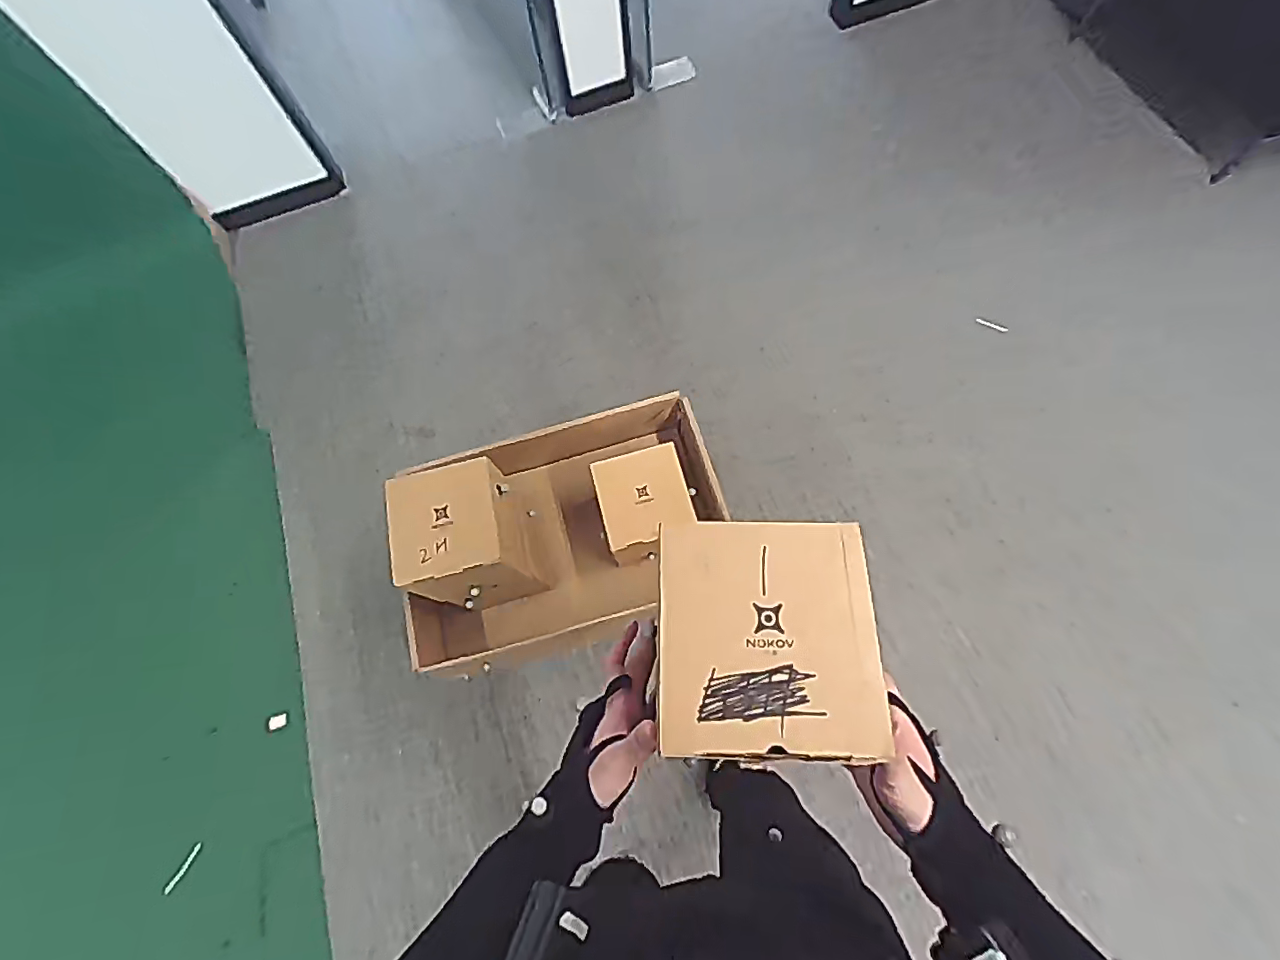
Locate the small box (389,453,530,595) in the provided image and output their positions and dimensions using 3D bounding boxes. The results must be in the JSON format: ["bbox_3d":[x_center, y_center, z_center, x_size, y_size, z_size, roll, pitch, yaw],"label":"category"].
[{"bbox_3d":[-0.294,0.080,0.902,0.168,0.176,0.179,-14,70,0],"label":"small box"}]

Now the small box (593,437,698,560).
[{"bbox_3d":[0.014,0.042,1.066,0.168,0.176,0.179,-16,71,-1],"label":"small box"}]

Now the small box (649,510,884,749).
[{"bbox_3d":[0.094,0.137,0.482,0.168,0.176,0.179,0,66,2],"label":"small box"}]
